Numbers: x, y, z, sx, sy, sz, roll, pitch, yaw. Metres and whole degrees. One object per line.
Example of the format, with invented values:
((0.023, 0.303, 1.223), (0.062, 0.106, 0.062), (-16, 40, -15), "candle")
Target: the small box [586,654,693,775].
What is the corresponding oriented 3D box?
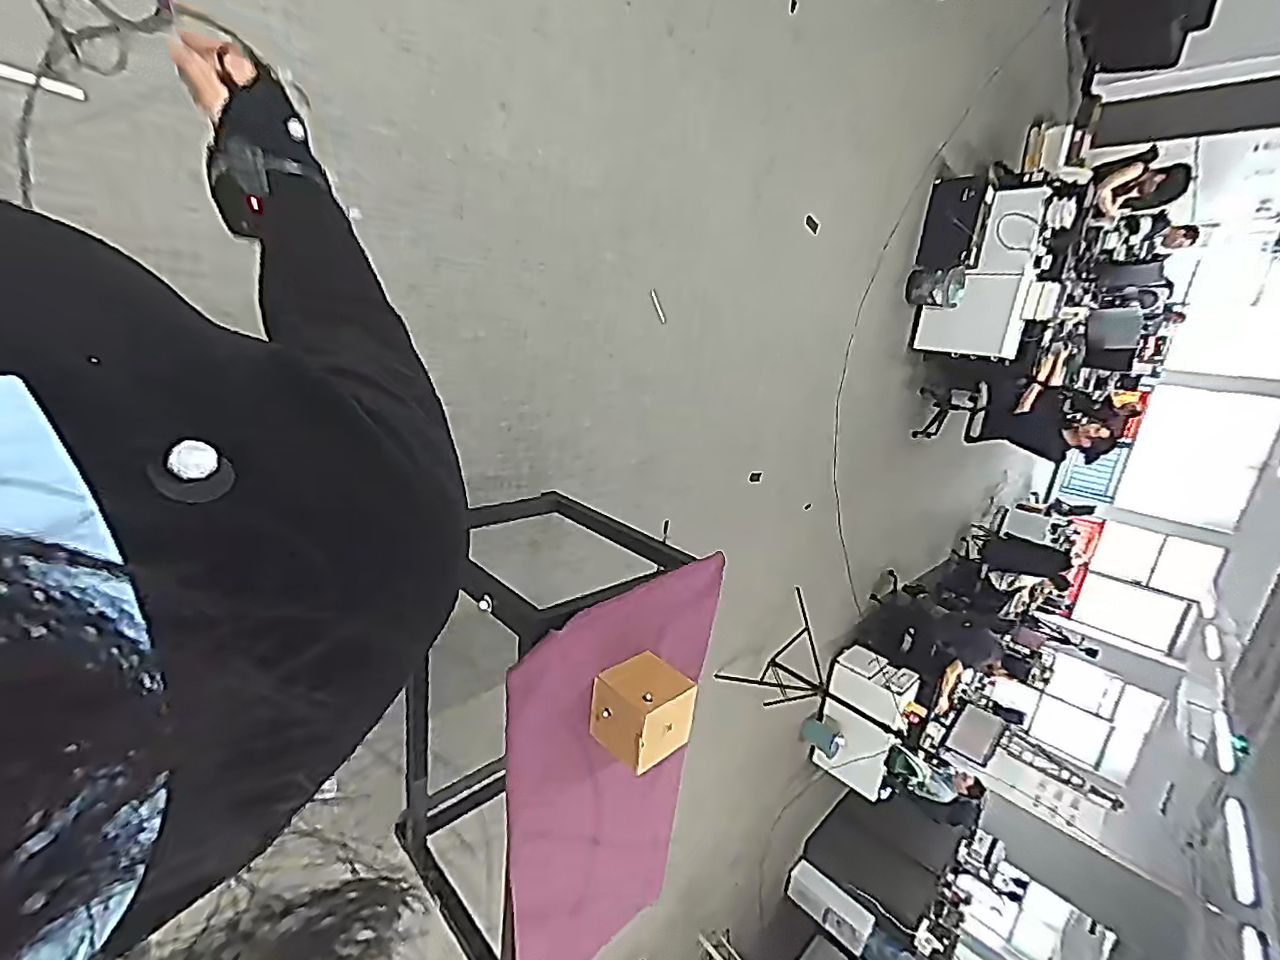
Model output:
((-0.004, 0.540, 1.277), (0.179, 0.176, 0.168), (-10, 114, -43), "small box")
